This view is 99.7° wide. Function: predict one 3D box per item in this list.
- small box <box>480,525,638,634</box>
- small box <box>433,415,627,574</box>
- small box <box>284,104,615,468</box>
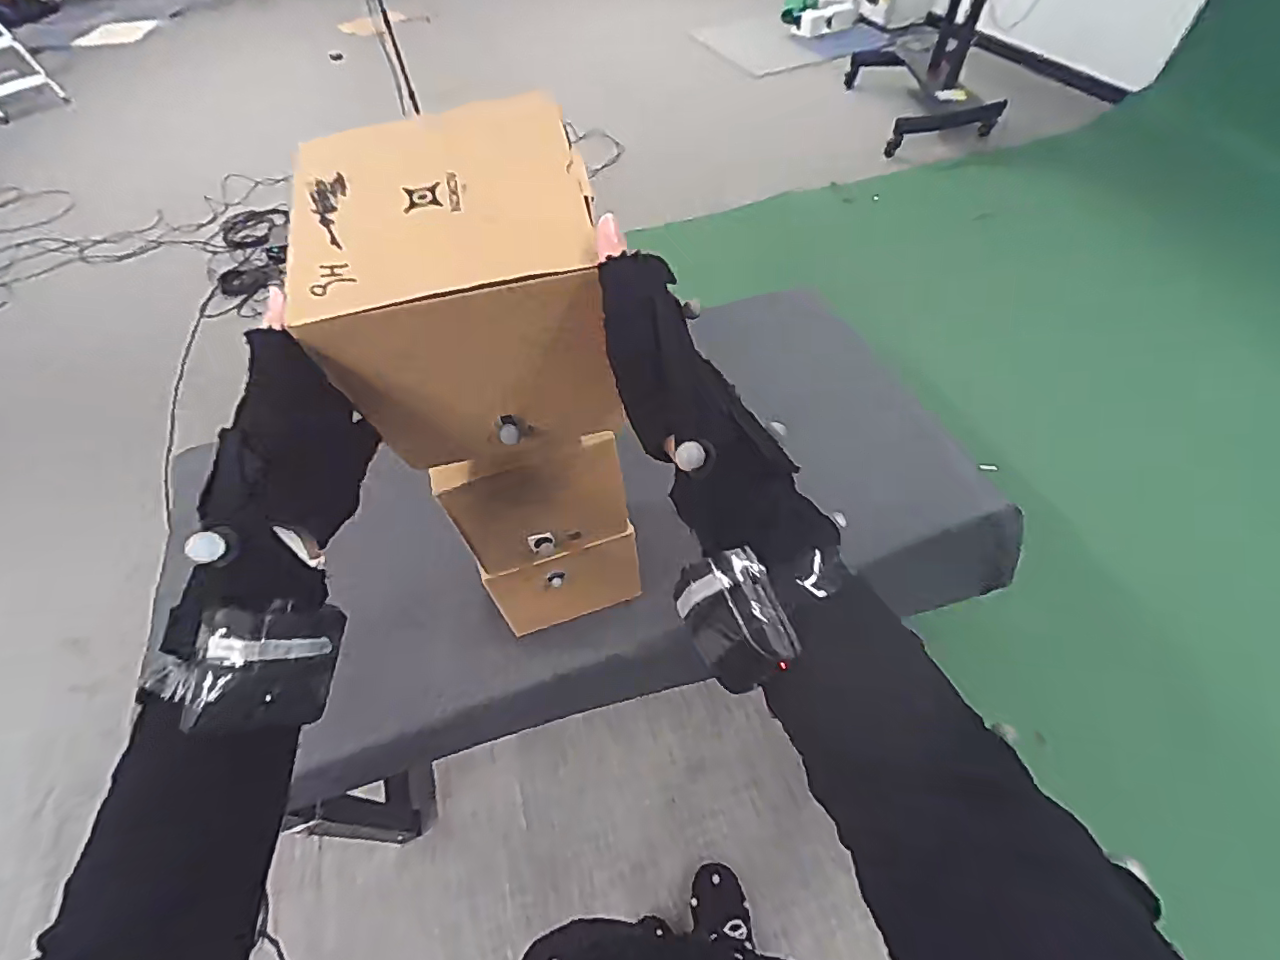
[{"bbox_3d":[-0.111,0.084,0.728,0.179,0.176,0.168,-17,55,-9],"label":"small box"},{"bbox_3d":[-0.121,-0.028,0.589,0.168,0.176,0.179,-20,56,-9],"label":"small box"},{"bbox_3d":[-0.116,-0.128,0.393,0.179,0.176,0.168,-12,63,-5],"label":"small box"}]
